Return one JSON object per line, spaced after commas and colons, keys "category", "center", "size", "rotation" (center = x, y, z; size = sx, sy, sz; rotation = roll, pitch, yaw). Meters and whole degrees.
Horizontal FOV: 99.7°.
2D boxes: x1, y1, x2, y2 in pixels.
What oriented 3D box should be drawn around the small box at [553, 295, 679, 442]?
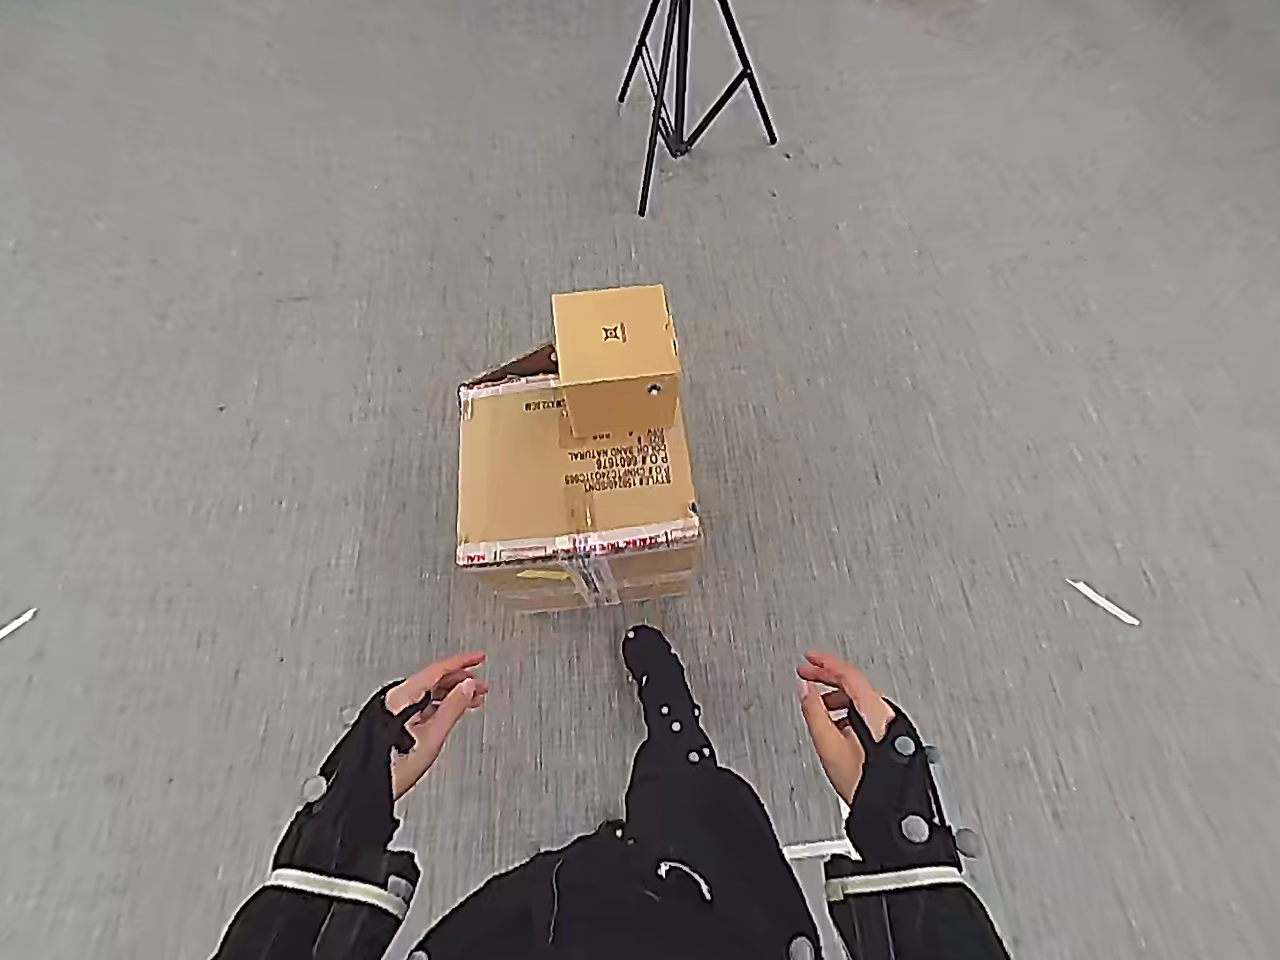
{"category": "small box", "center": [-0.038, -0.173, 0.881], "size": [0.179, 0.176, 0.168], "rotation": [-7, 68, -4]}
